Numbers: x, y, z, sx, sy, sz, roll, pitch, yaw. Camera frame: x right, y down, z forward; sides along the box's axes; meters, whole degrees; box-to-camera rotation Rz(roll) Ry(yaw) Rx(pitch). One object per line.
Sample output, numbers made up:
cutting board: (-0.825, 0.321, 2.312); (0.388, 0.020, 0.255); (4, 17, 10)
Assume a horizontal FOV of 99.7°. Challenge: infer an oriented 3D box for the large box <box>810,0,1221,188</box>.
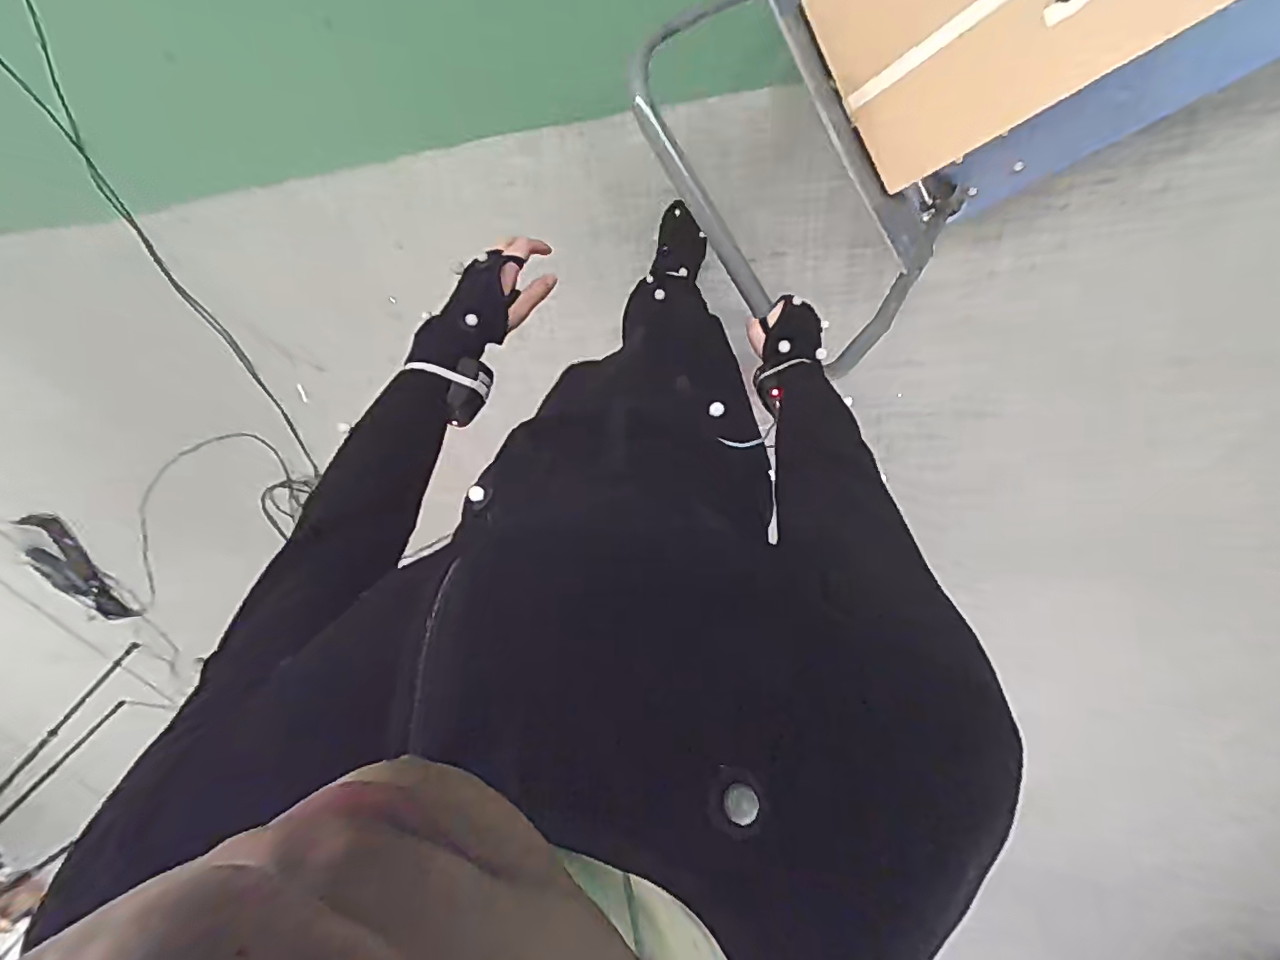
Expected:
large box: (0.534, -0.722, 0.793); (0.408, 0.320, 0.320); (-16, 118, 46)
